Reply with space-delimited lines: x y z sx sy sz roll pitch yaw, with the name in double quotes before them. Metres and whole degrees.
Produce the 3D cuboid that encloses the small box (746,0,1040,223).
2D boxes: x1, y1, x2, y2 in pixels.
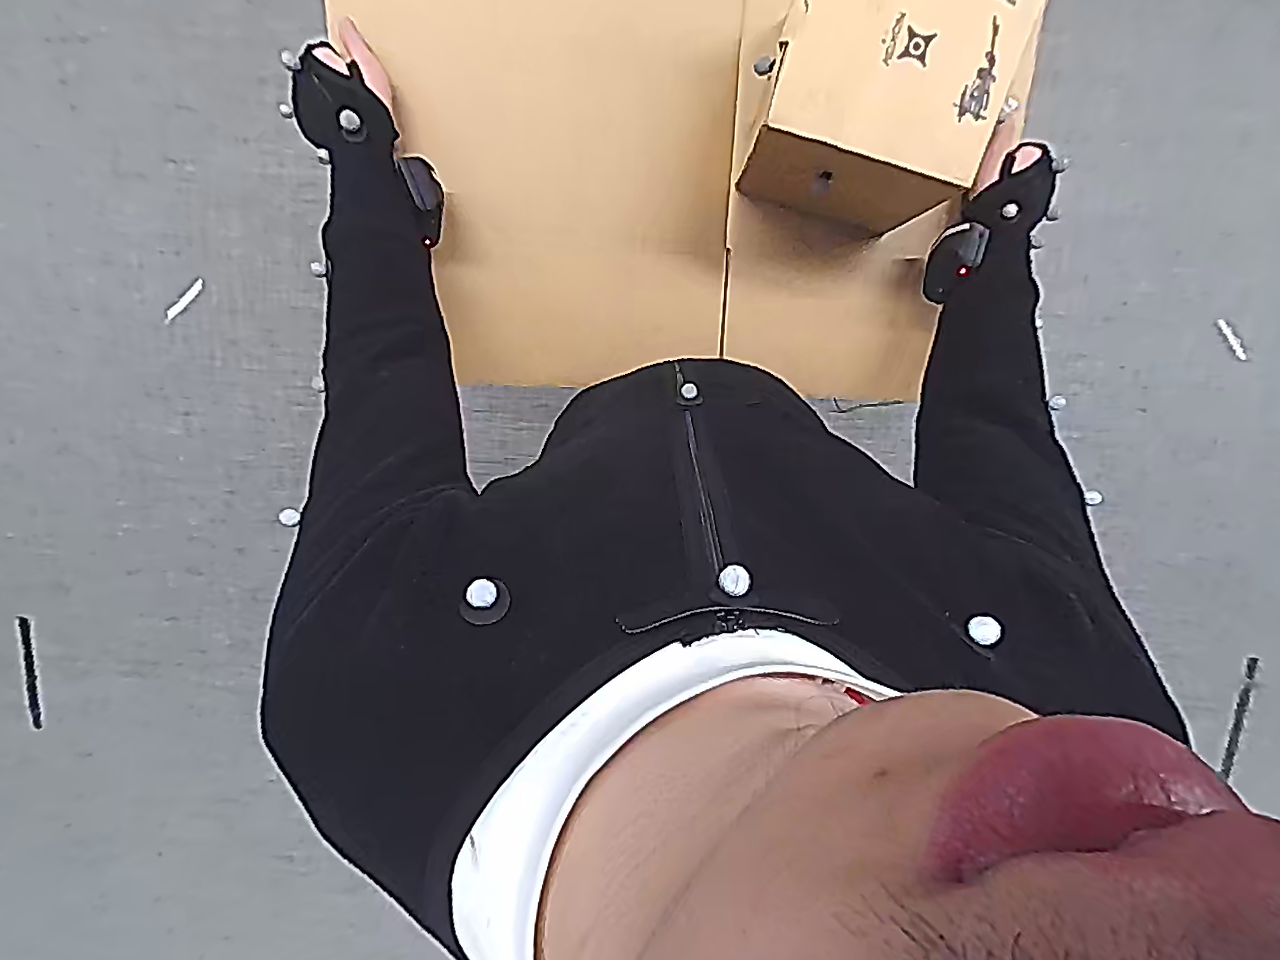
"small box" 0.208 -0.356 0.493 0.179 0.176 0.168 17 103 -1
